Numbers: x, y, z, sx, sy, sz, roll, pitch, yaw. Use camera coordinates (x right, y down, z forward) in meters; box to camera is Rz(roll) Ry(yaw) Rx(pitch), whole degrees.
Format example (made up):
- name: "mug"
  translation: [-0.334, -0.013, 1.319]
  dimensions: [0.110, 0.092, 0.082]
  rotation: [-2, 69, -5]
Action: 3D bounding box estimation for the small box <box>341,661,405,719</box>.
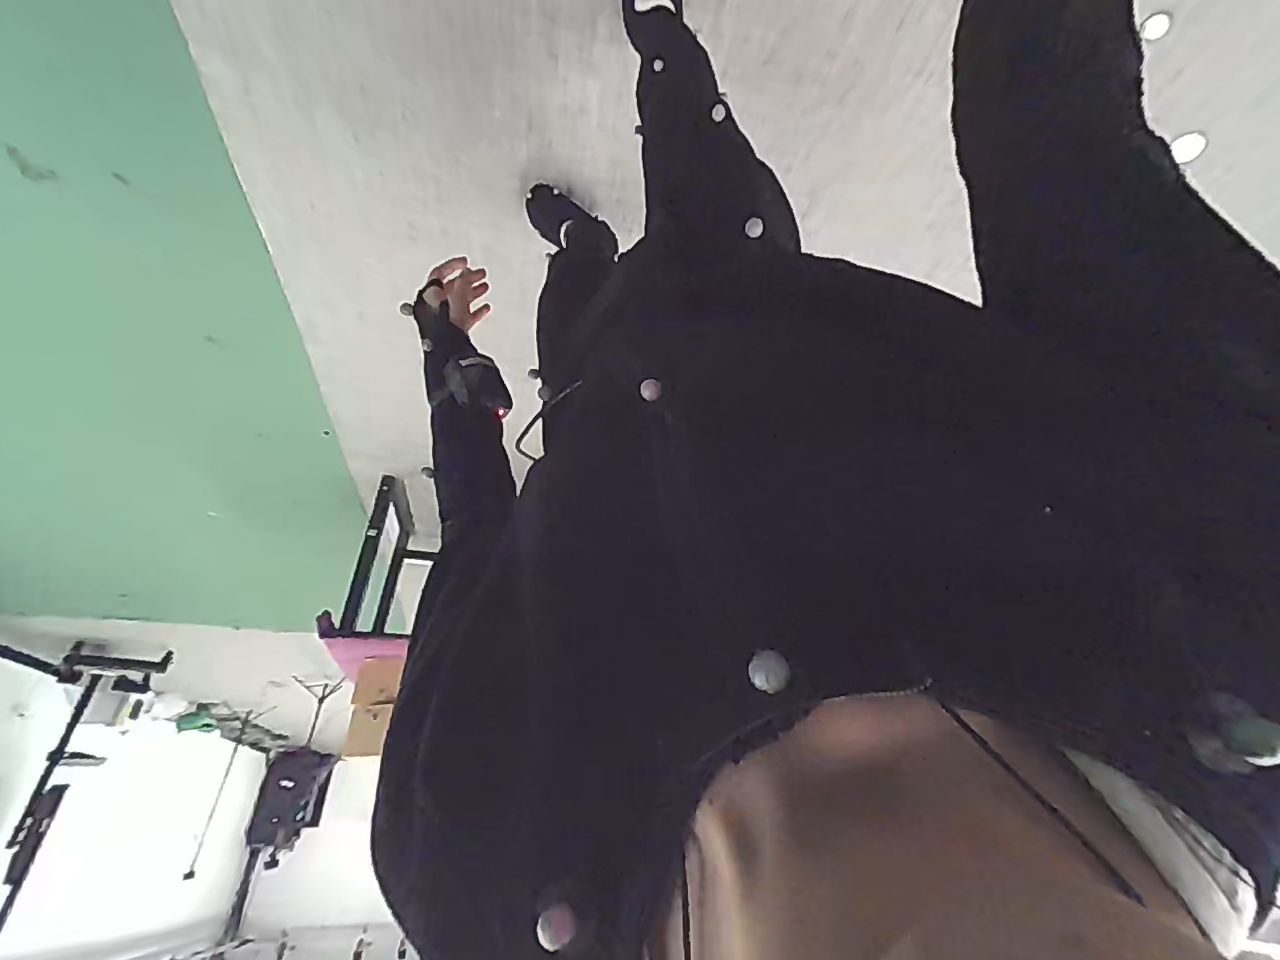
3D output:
- name: "small box"
  translation: [-0.962, 0.766, 1.968]
  dimensions: [0.179, 0.176, 0.168]
  rotation: [8, 145, -14]
